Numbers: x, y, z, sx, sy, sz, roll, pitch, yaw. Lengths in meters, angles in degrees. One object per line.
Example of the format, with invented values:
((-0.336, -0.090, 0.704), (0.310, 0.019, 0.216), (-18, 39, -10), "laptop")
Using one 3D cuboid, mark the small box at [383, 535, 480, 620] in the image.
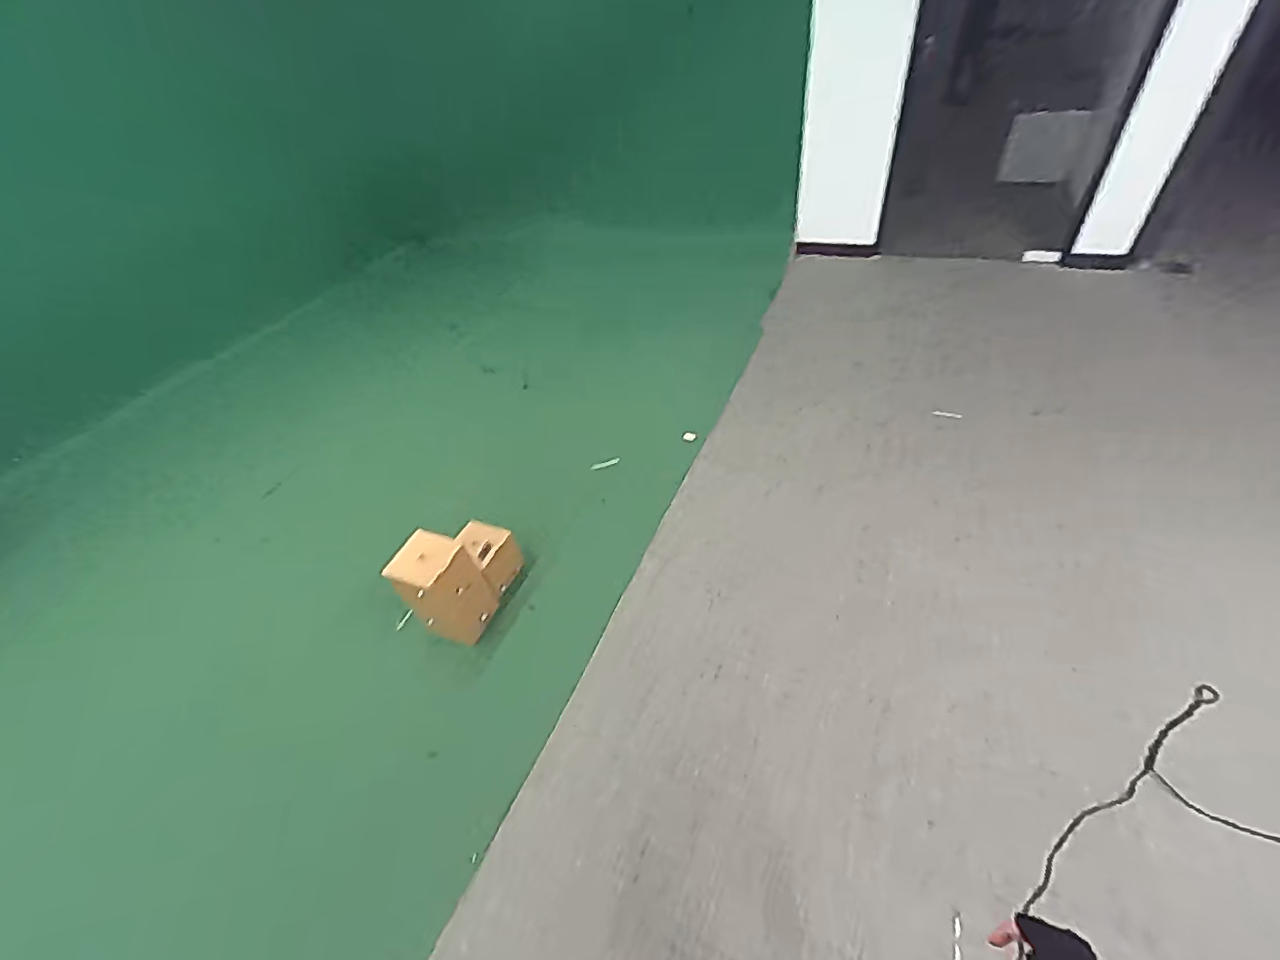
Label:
((-0.610, 0.290, 1.602), (0.179, 0.176, 0.168), (10, 47, 19), "small box")
